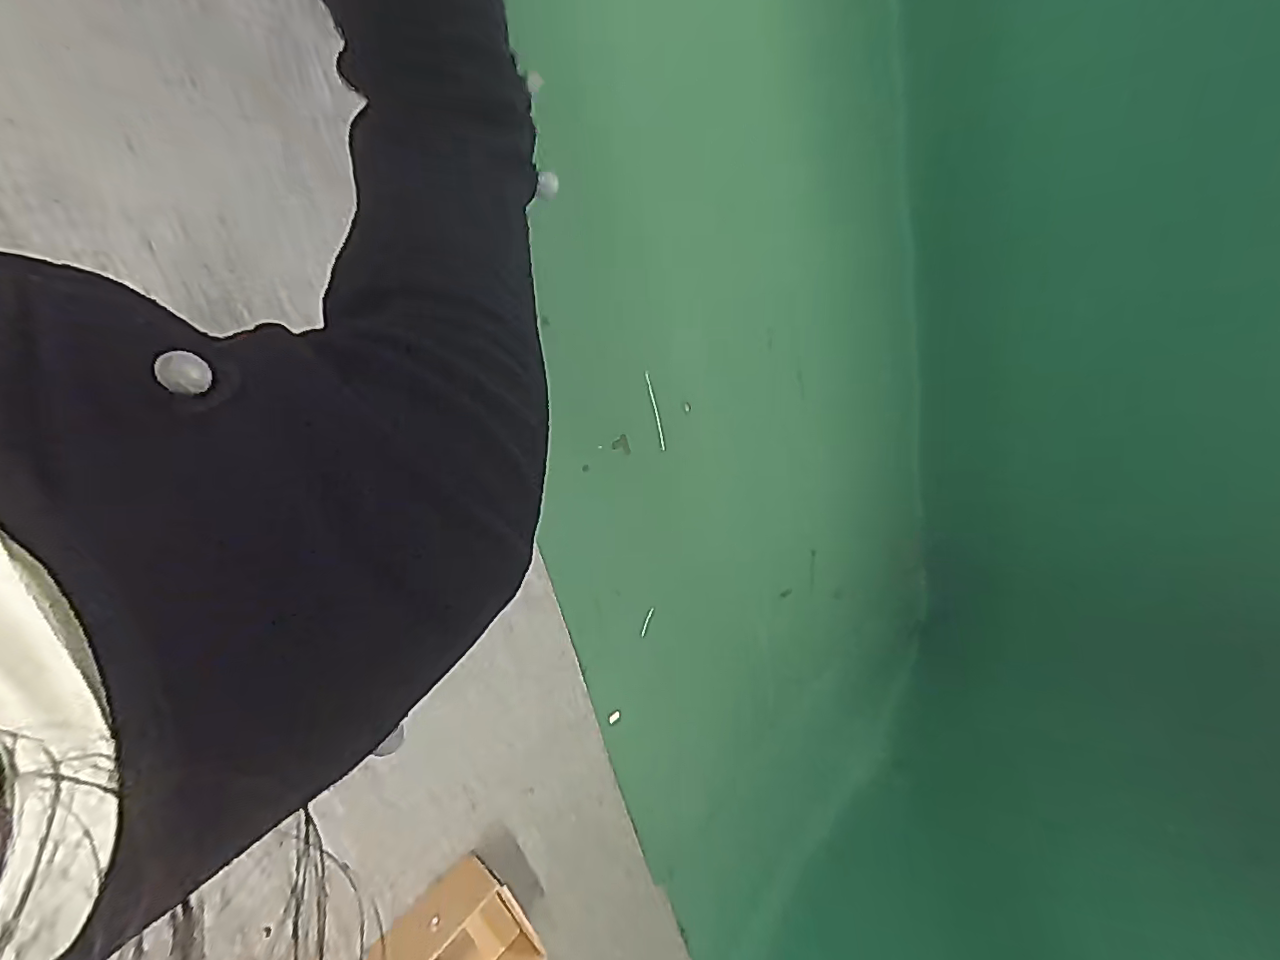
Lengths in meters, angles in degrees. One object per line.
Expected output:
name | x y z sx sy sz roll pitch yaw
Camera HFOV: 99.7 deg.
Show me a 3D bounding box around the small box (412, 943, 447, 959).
small box | -0.580 1.436 1.483 0.168 0.176 0.179 -35 120 -36
